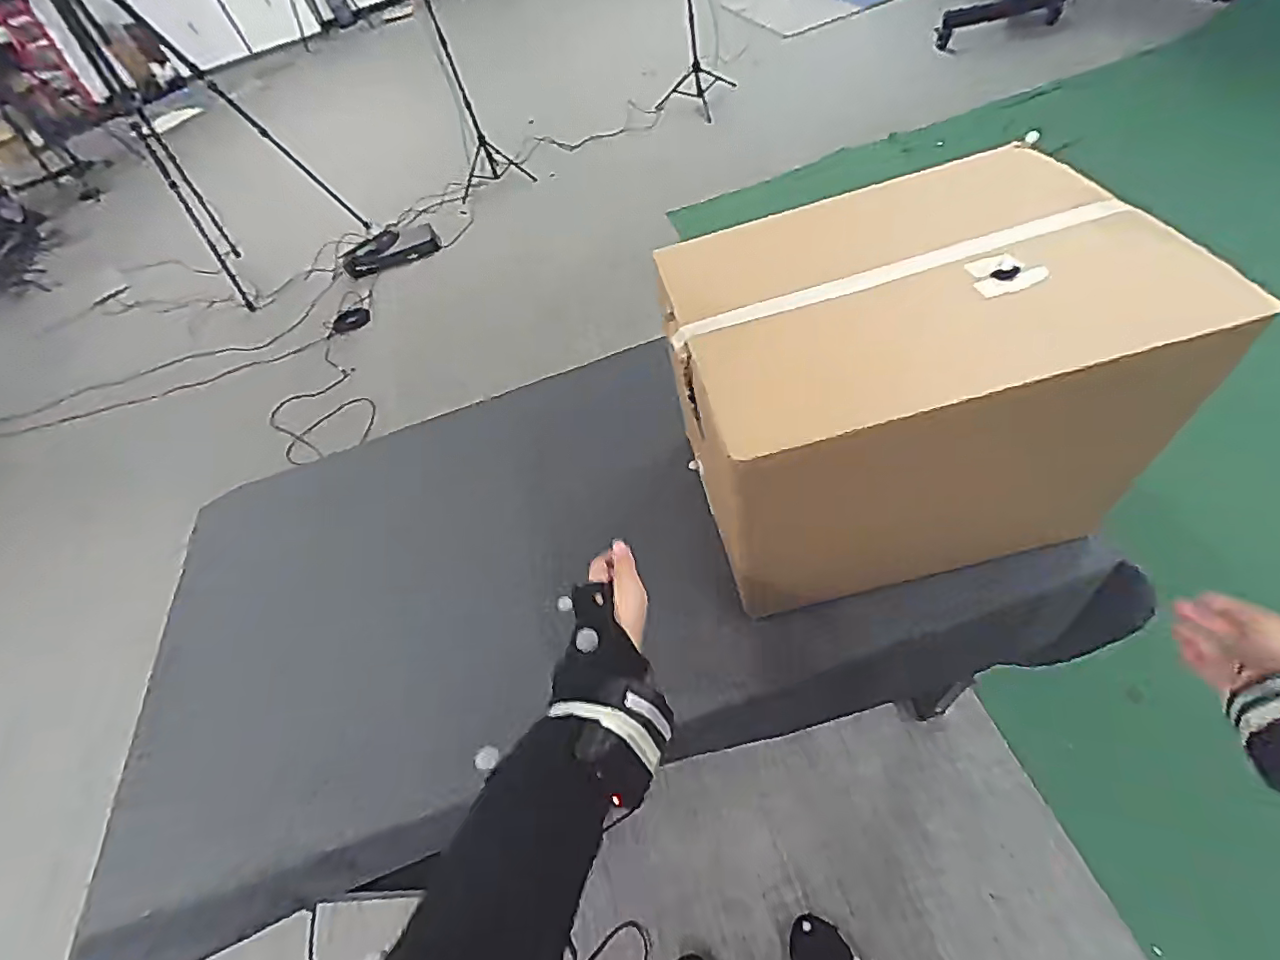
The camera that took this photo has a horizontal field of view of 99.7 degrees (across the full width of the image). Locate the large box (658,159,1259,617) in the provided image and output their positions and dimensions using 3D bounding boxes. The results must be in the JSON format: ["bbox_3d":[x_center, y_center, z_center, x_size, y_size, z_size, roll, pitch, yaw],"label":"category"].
[{"bbox_3d":[0.264,-0.090,0.608,0.408,0.320,0.320,-15,52,2],"label":"large box"}]
